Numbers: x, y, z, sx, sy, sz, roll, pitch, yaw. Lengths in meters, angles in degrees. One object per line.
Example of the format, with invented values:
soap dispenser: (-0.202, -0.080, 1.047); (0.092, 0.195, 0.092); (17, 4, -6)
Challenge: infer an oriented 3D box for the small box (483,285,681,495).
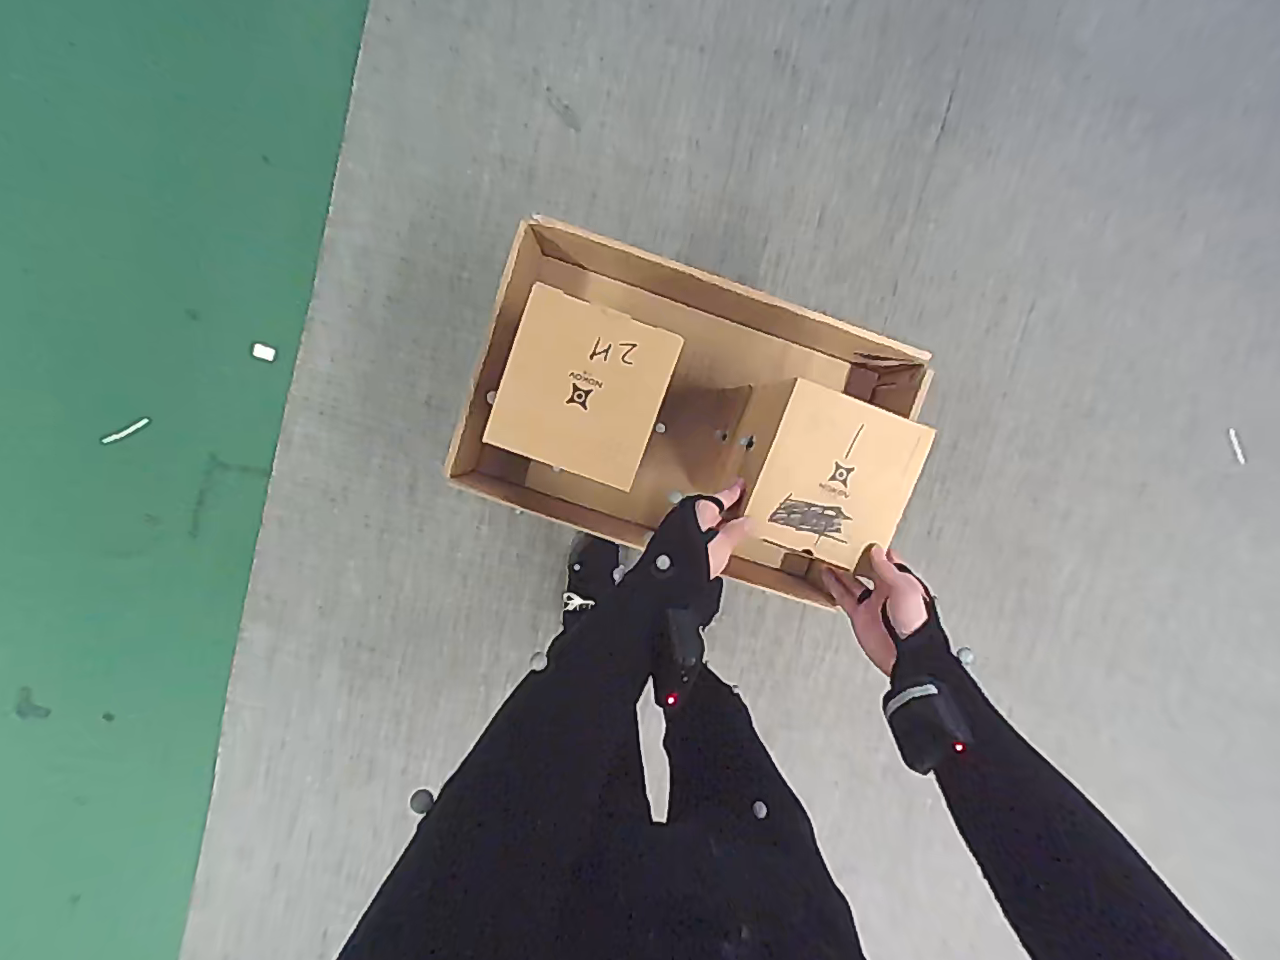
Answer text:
small box: (-0.063, -0.100, 0.643); (0.168, 0.176, 0.179); (20, 95, -4)

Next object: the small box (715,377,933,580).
small box: (0.201, -0.008, 0.650); (0.168, 0.176, 0.179); (20, 95, -6)

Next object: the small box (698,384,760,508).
small box: (0.195, -0.031, 0.823); (0.168, 0.176, 0.179); (19, 94, -3)
